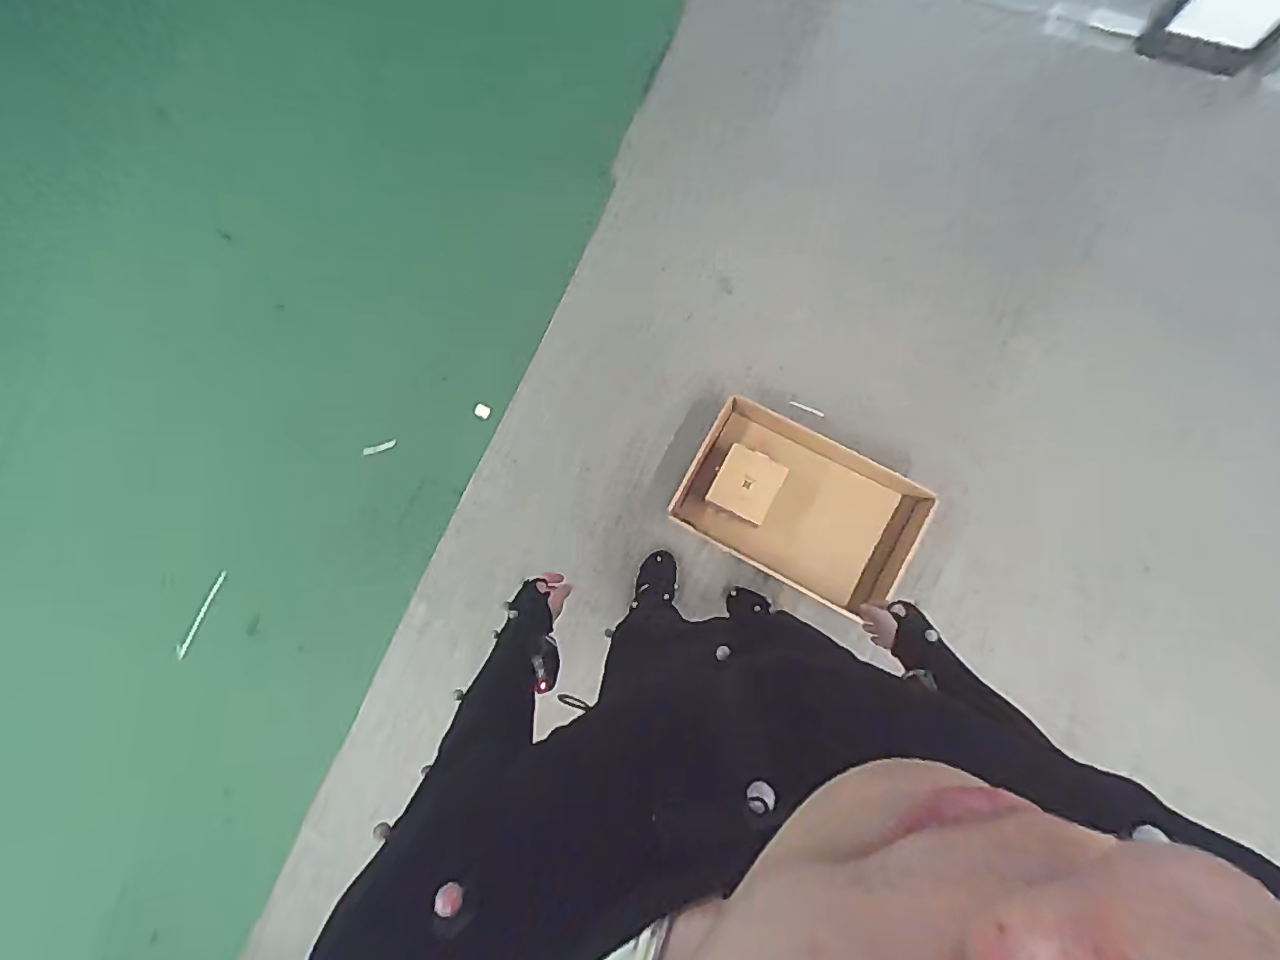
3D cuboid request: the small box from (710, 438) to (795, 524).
[{"bbox_3d":[0.304,0.009,1.501,0.168,0.176,0.179,29,87,10],"label":"small box"}]
